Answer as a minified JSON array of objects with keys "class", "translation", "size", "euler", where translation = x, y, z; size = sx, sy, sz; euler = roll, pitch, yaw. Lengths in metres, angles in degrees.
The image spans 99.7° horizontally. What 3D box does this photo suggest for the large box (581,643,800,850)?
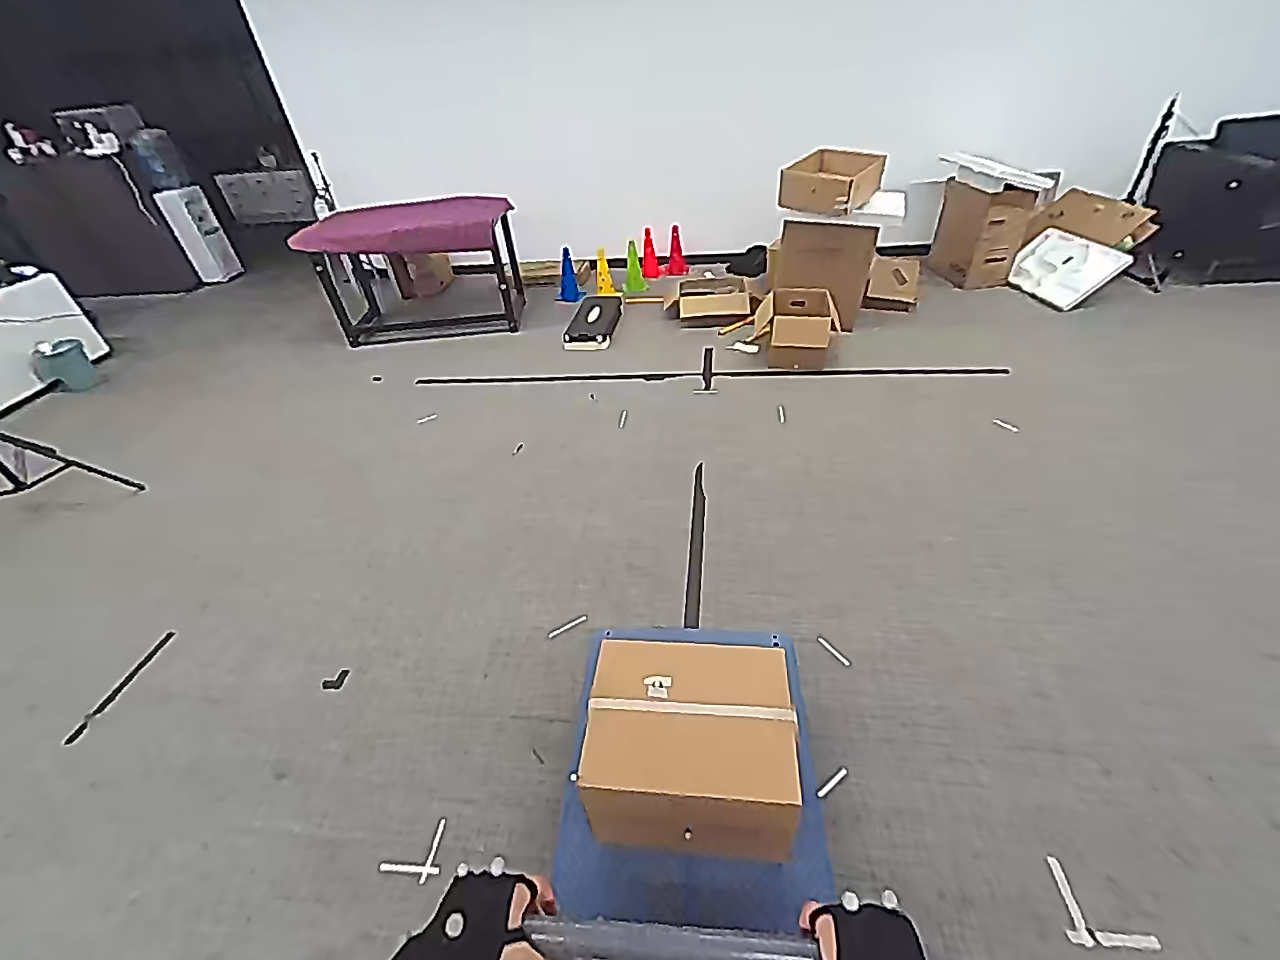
[{"class":"large box","translation":[0.114,0.579,1.185],"size":[0.408,0.320,0.320],"euler":[0,39,8]}]
